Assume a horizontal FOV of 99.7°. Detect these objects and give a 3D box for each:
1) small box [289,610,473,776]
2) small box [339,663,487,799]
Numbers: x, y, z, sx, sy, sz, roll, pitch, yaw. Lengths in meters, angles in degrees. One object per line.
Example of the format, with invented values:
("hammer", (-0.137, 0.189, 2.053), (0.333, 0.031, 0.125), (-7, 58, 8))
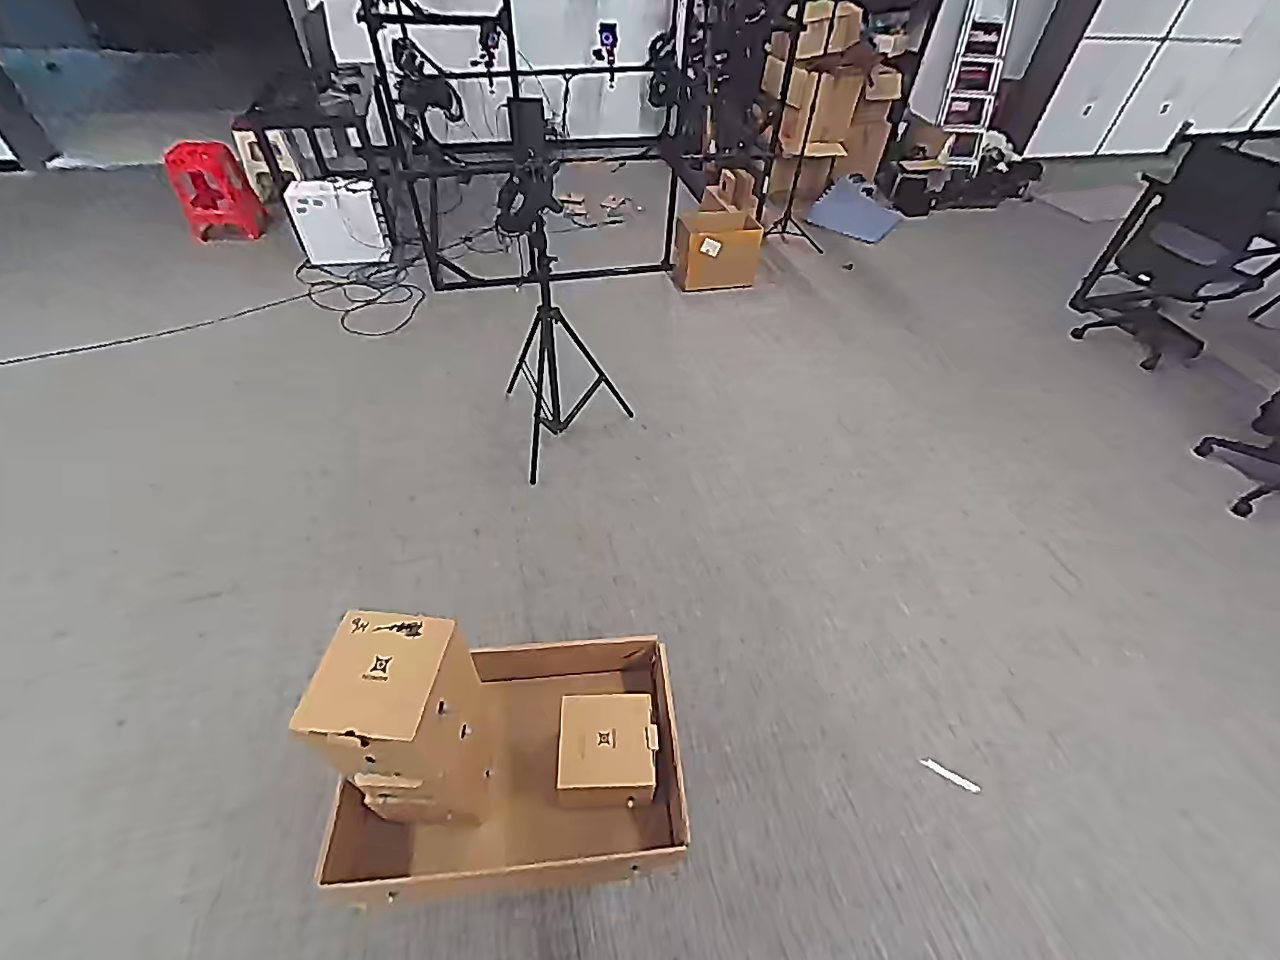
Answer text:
("small box", (-0.360, 0.317, 0.797), (0.168, 0.176, 0.179), (6, 47, 2))
("small box", (-0.368, 0.426, 0.920), (0.168, 0.176, 0.179), (3, 46, -1))
